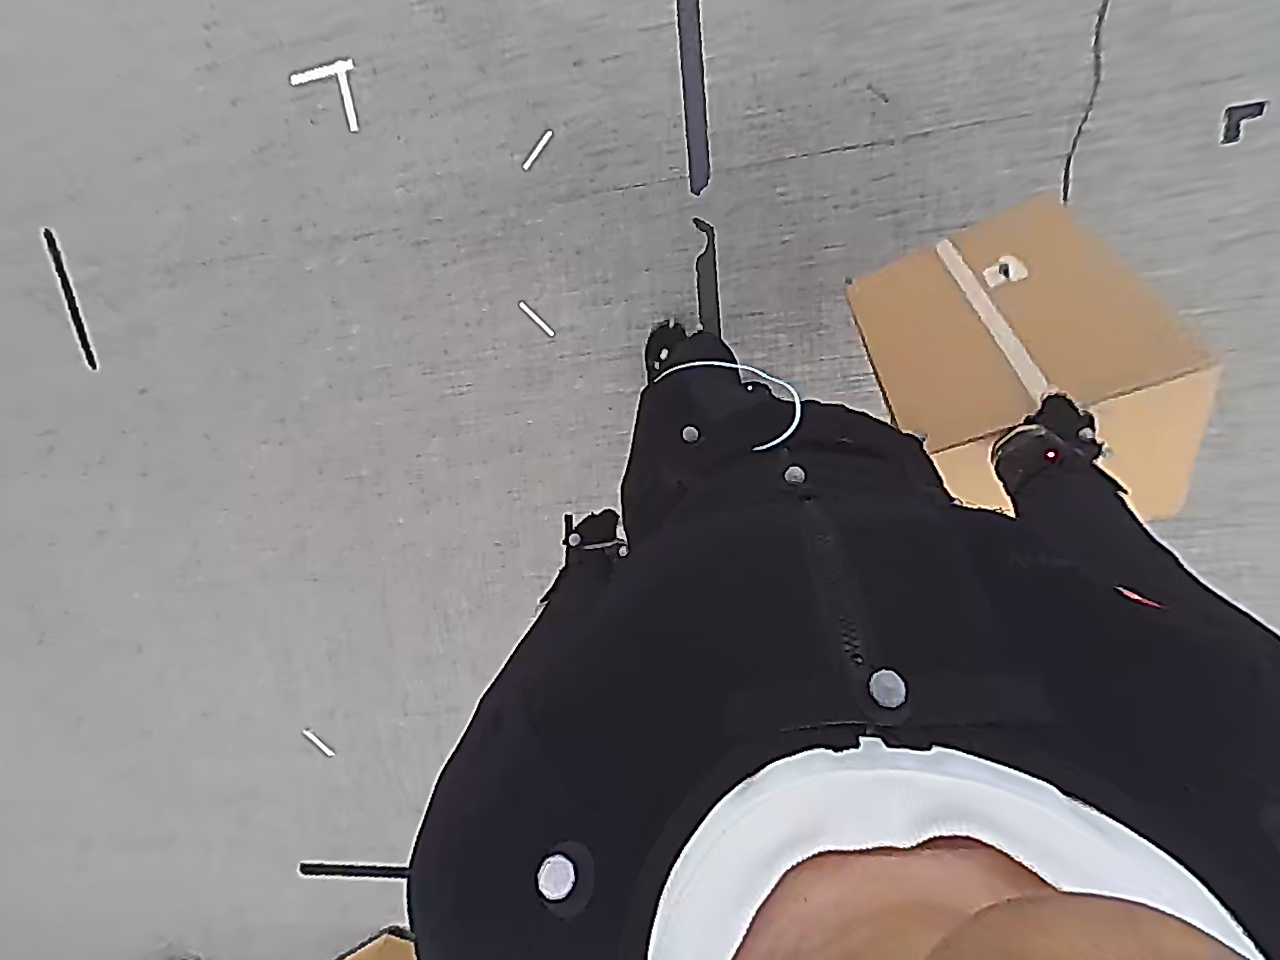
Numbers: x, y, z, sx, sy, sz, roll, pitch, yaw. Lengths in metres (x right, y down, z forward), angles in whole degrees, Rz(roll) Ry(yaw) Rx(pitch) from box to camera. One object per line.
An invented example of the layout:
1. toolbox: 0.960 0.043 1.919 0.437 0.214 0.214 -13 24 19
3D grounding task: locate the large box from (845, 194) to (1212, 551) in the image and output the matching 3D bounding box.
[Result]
1. large box: 0.570 -0.159 0.865 0.320 0.408 0.320 -20 136 24
